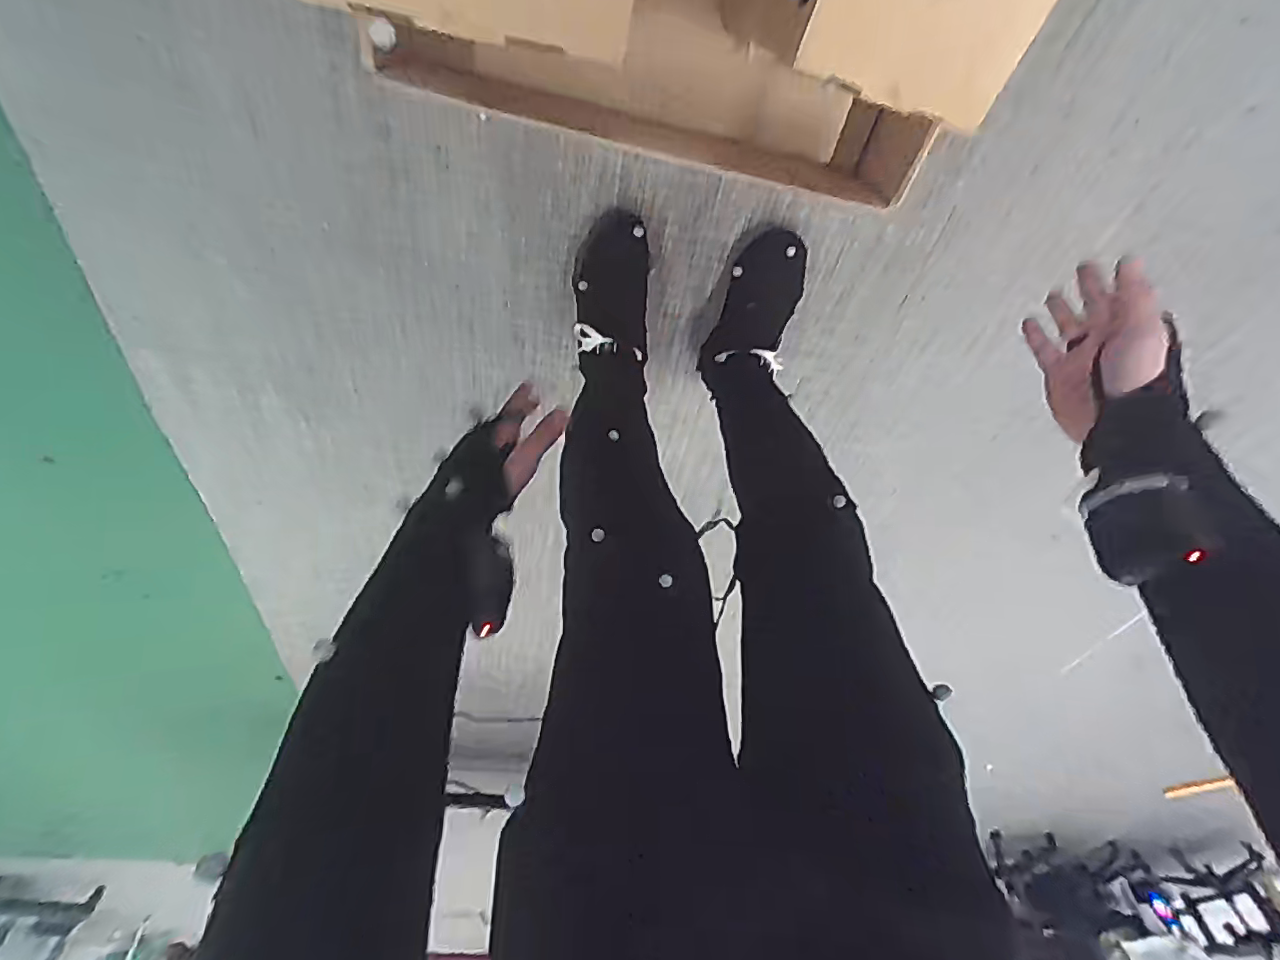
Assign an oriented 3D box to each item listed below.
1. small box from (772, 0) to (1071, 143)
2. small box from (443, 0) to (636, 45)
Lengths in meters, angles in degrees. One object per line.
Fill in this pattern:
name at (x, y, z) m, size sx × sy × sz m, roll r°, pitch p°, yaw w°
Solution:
small box at (0.222, -0.406, 0.425) m, size 0.168 × 0.176 × 0.179 m, roll 12°, pitch 133°, yaw -12°
small box at (-0.072, -0.442, 0.385) m, size 0.168 × 0.176 × 0.179 m, roll 8°, pitch 132°, yaw -7°
